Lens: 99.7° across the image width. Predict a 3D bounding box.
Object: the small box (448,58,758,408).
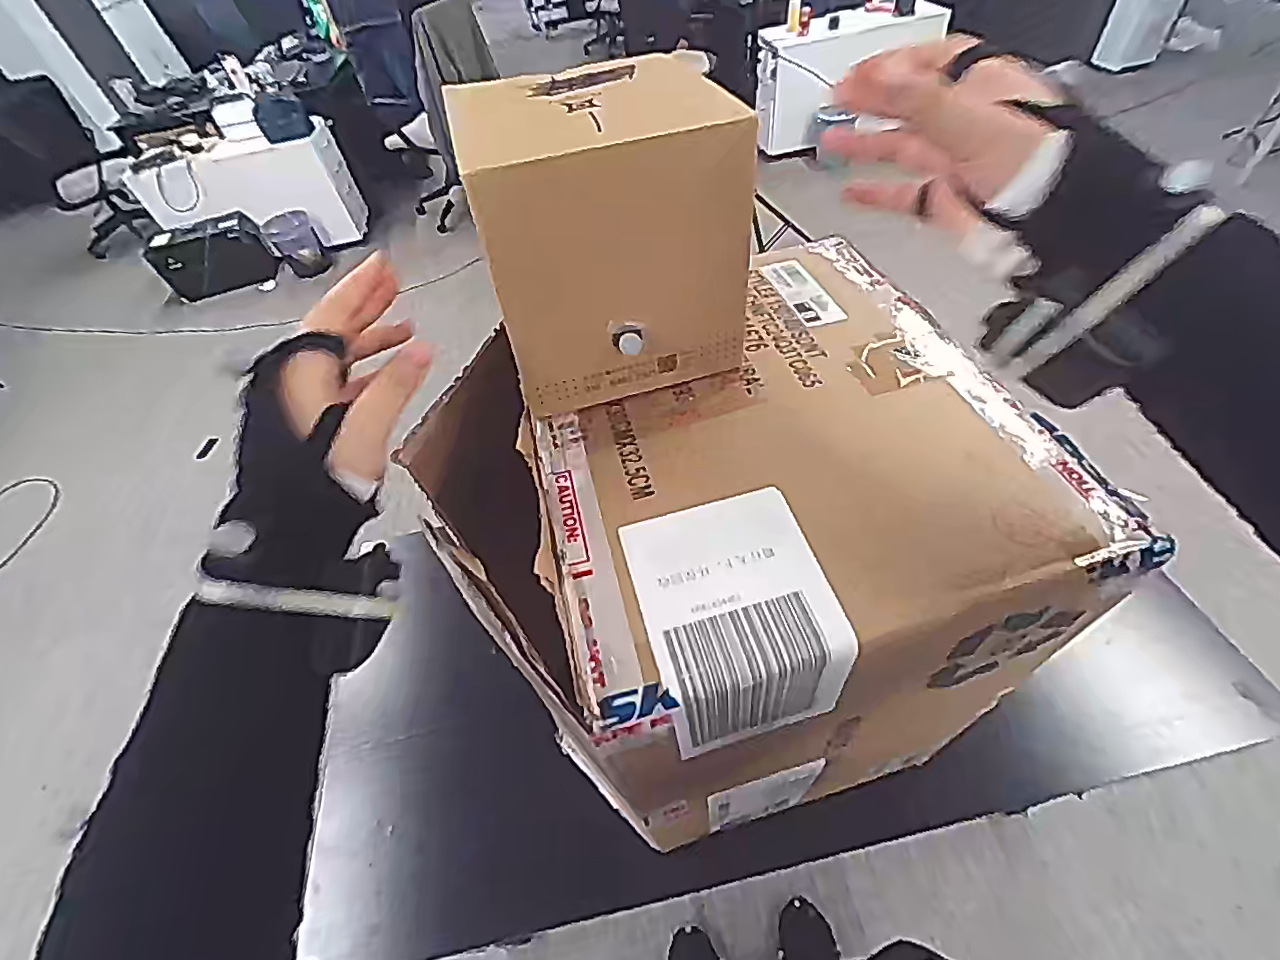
[{"bbox_3d":[-0.030,-0.181,0.397,0.168,0.176,0.179,-16,49,-7],"label":"small box"}]
